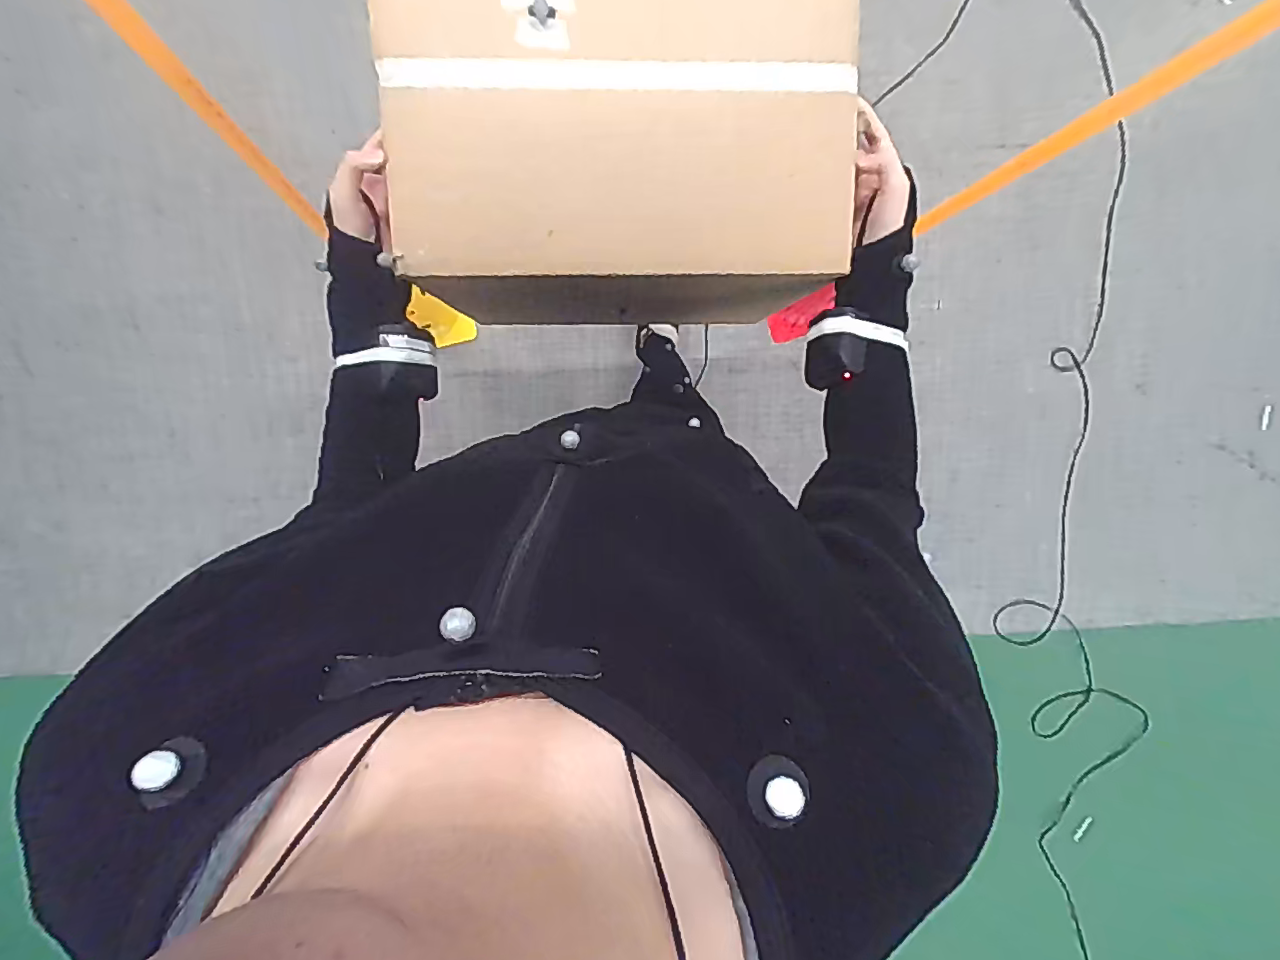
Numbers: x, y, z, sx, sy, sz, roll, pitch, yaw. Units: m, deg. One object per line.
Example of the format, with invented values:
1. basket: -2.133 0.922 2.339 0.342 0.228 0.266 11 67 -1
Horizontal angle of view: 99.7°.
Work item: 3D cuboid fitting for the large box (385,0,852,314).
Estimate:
1. large box: -0.020 -0.368 0.614 0.408 0.320 0.320 -1 98 -3
